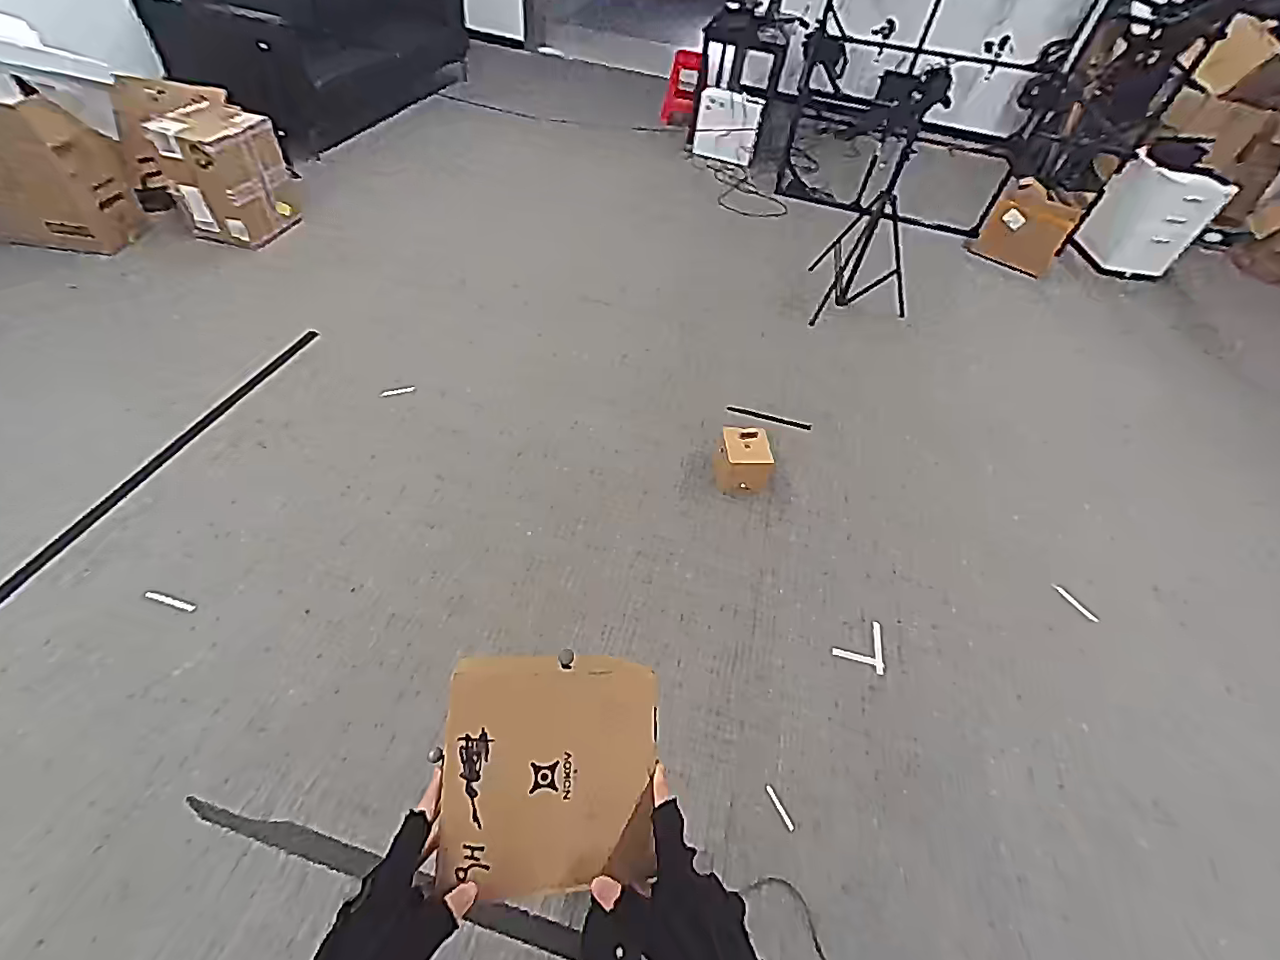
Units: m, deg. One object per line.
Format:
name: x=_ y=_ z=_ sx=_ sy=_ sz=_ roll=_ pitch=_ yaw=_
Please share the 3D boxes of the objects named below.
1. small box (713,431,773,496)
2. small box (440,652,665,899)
small box: x=0.375 y=-0.060 z=2.014 sx=0.168 sy=0.176 sz=0.179 roll=0 pitch=50 yaw=-7
small box: x=-0.086 y=0.253 z=0.511 sx=0.179 sy=0.176 sz=0.168 roll=4 pitch=74 yaw=-16
